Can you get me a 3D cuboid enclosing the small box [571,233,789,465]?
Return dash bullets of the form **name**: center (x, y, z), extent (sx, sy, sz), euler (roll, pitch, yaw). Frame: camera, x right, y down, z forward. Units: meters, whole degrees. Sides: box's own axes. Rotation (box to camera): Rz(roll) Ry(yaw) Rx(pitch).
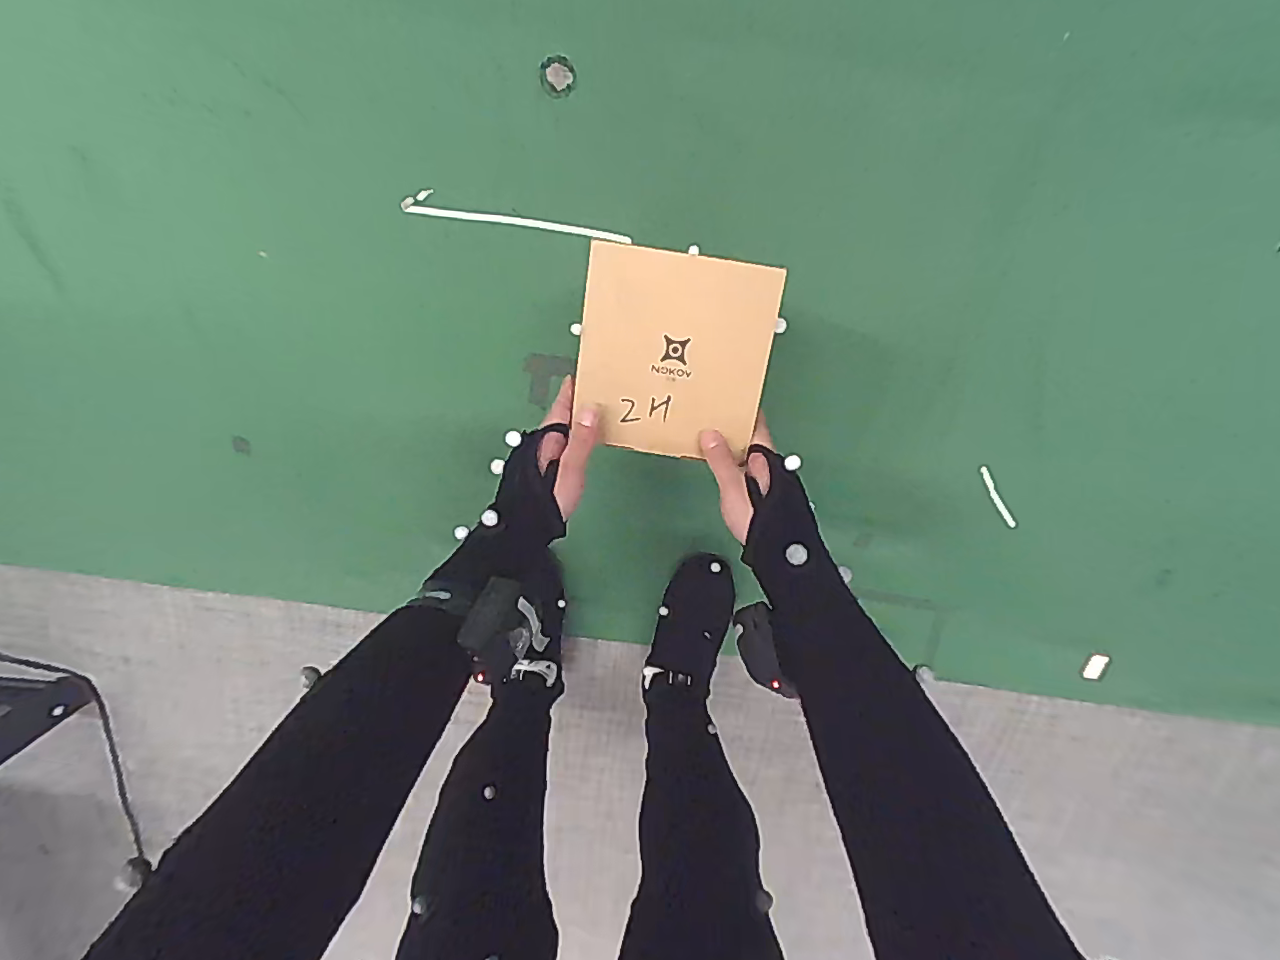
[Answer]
- **small box**: center (0.033, -0.132, 0.543), extent (0.168, 0.176, 0.179), euler (9, 109, 0)
